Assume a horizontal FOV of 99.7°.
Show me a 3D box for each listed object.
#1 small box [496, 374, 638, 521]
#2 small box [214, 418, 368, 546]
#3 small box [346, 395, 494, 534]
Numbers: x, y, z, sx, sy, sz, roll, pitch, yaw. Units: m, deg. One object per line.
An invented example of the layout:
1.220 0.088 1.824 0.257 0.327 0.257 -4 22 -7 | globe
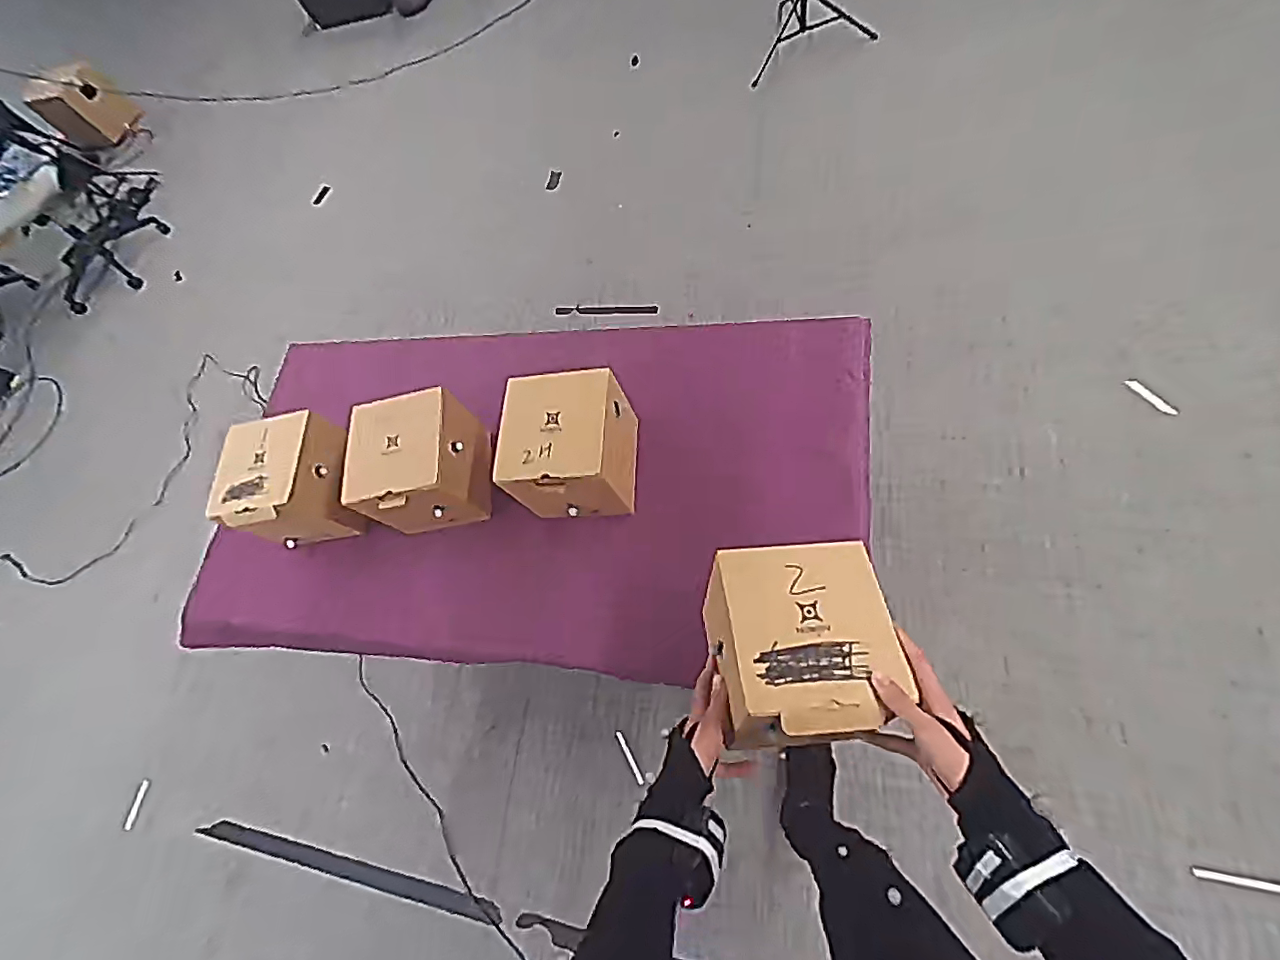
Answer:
-0.104 -0.044 0.857 0.168 0.176 0.179 -3 68 15 | small box
-0.605 0.014 0.972 0.168 0.176 0.179 -10 66 11 | small box
-0.361 -0.016 0.919 0.168 0.176 0.179 -11 66 11 | small box
